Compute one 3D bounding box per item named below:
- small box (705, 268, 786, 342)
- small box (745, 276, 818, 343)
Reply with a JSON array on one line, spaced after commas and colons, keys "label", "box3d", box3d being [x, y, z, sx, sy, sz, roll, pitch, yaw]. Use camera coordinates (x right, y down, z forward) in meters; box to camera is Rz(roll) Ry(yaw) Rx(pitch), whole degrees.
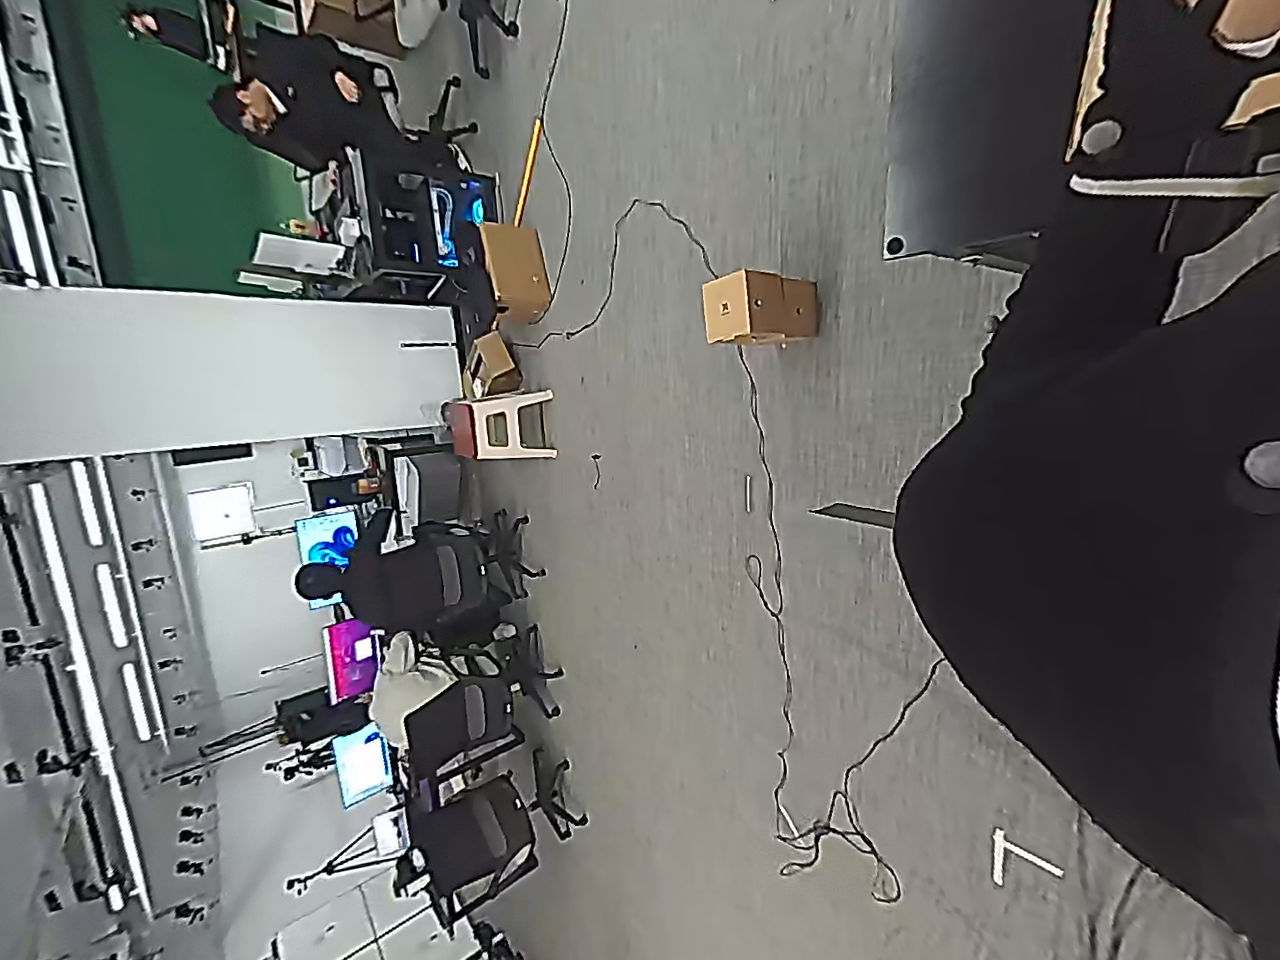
[{"label": "small box", "box3d": [0.315, -0.509, 1.595, 0.168, 0.176, 0.179, 1, 99, 51]}, {"label": "small box", "box3d": [0.442, -0.527, 1.695, 0.168, 0.176, 0.179, 6, 104, 51]}]
